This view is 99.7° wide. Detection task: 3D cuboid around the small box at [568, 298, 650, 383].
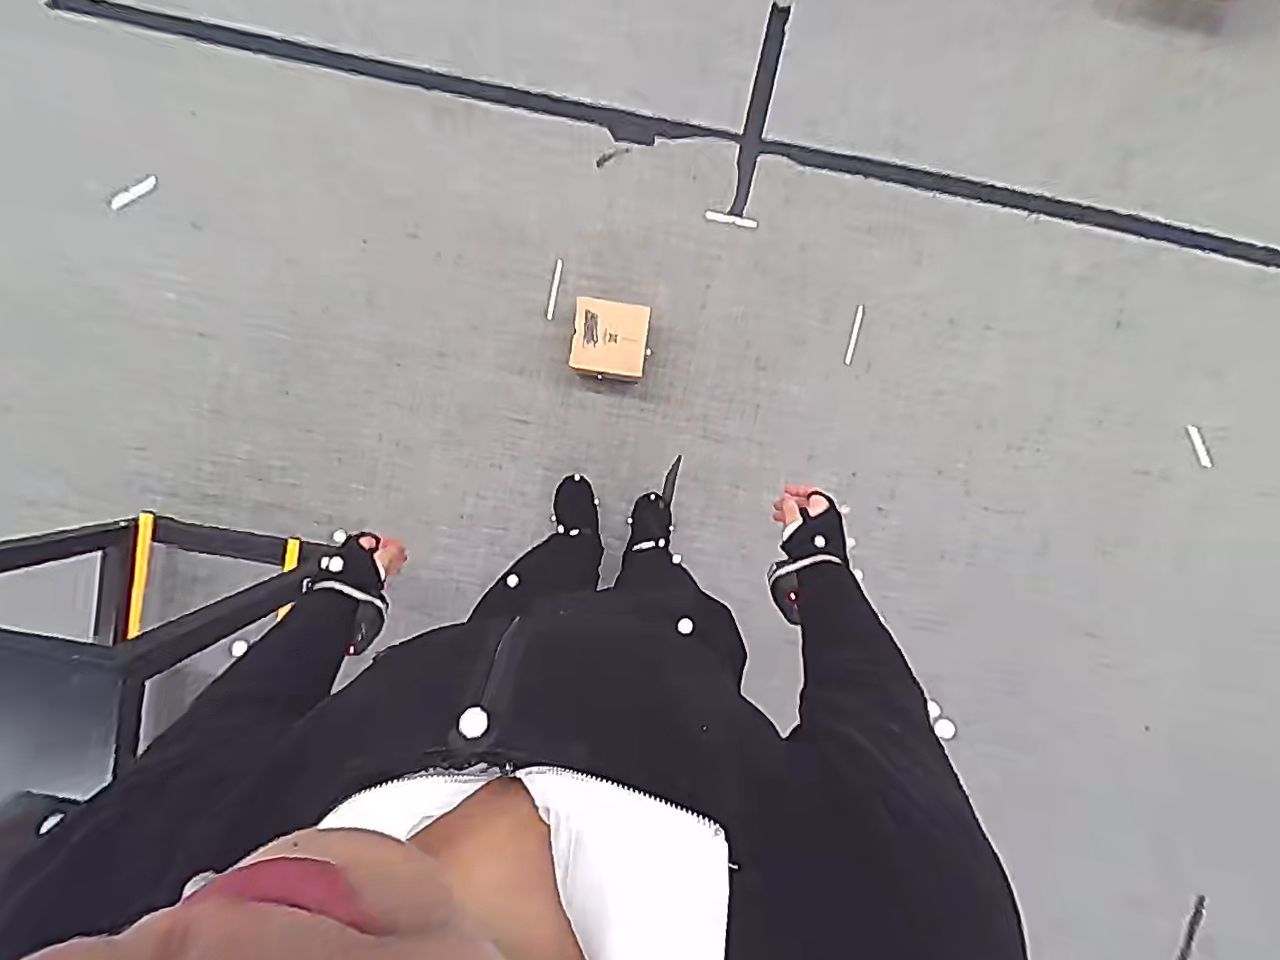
[{"bbox_3d":[-0.076,-0.340,1.350,0.179,0.176,0.168,8,96,-2],"label":"small box"}]
